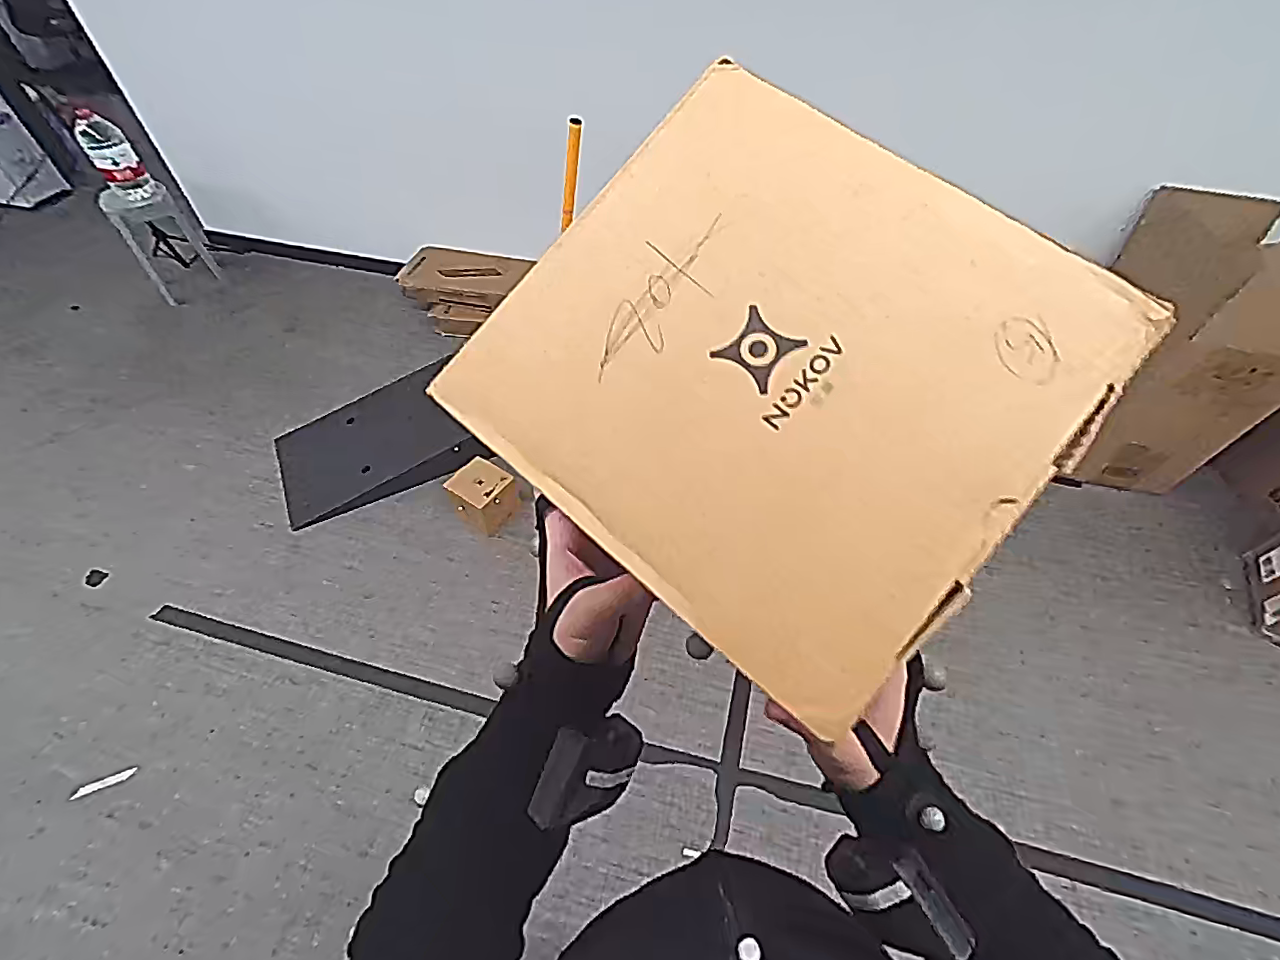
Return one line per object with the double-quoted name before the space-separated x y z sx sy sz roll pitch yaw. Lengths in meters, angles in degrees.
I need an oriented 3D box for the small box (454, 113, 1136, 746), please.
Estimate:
"small box" 0.056 -0.016 0.266 0.179 0.176 0.168 39 87 14
